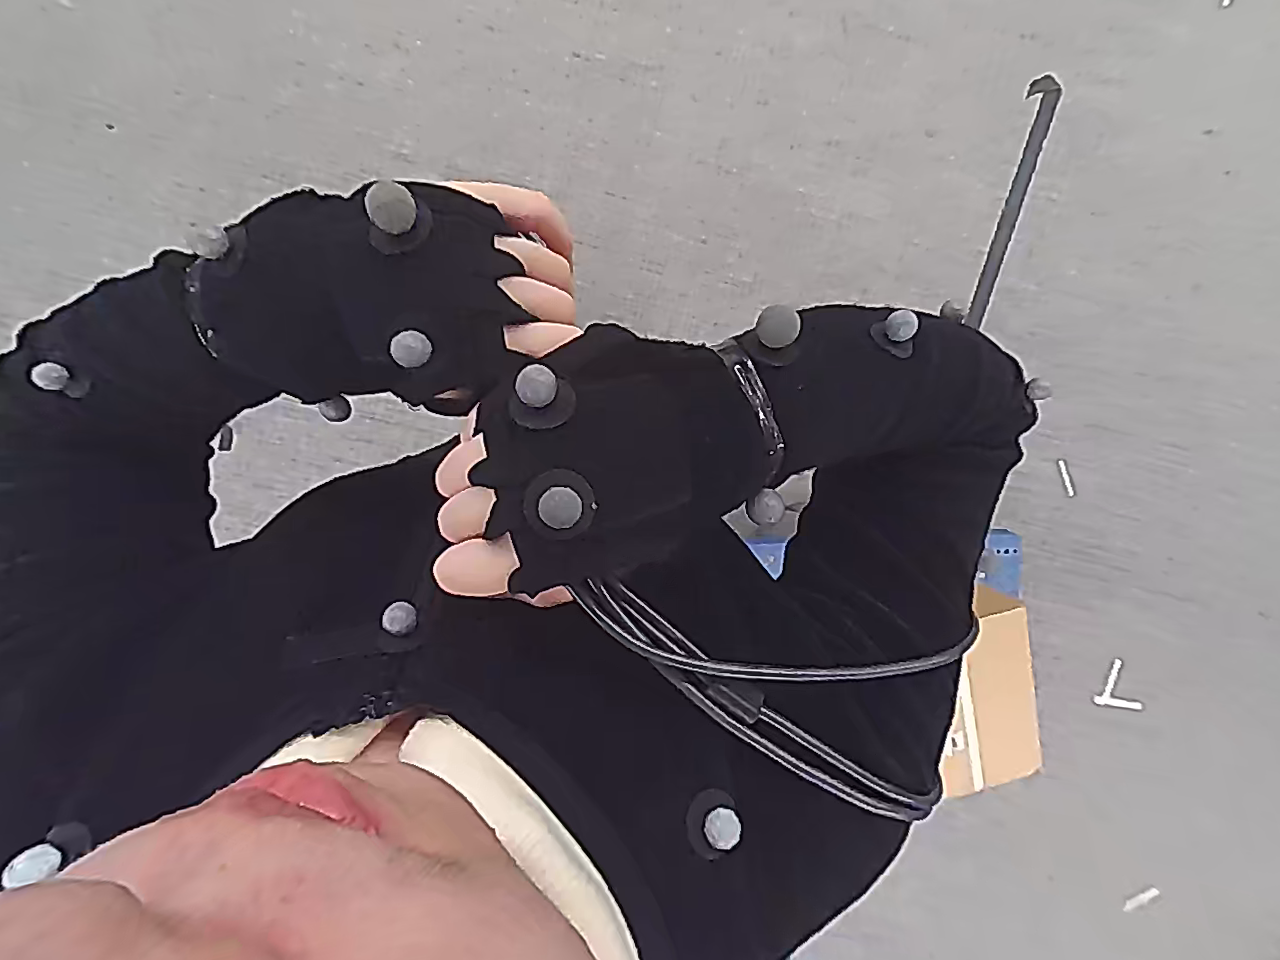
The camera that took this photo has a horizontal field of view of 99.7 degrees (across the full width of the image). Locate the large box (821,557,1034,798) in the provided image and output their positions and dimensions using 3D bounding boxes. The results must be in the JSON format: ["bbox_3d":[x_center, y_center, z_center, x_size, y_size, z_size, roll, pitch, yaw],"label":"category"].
[{"bbox_3d":[0.670,0.448,1.300,0.320,0.320,0.408,-13,101,-2],"label":"large box"}]
